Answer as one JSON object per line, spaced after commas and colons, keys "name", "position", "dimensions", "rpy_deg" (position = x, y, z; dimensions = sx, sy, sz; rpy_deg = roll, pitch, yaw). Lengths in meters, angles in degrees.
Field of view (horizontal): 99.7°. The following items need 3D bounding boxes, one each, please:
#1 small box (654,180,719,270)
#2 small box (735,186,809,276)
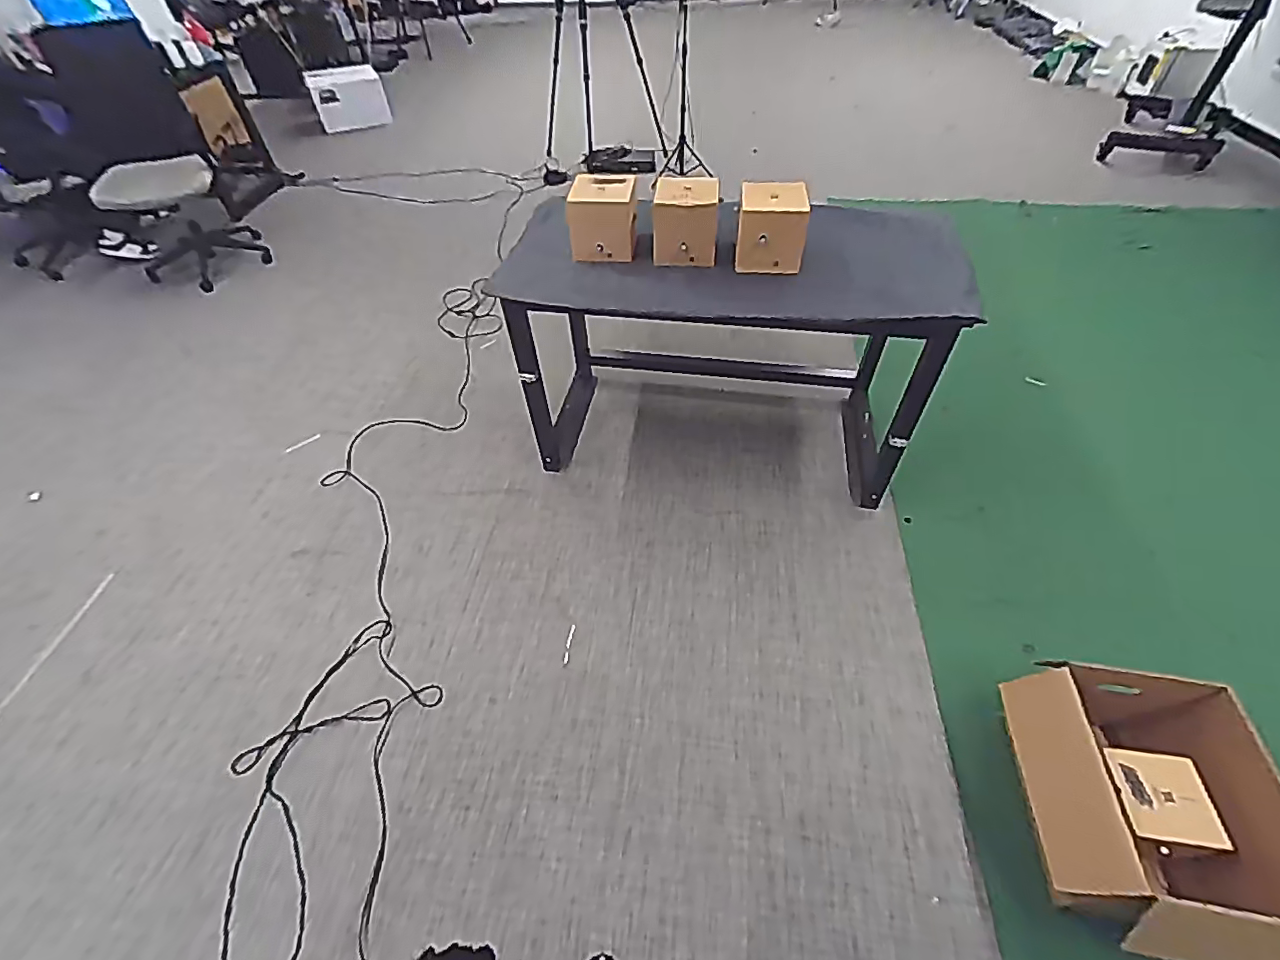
{"name": "small box", "position": [0.126, -0.694, 1.471], "dimensions": [0.168, 0.176, 0.179], "rpy_deg": [3, 49, 5]}
{"name": "small box", "position": [0.344, -0.658, 1.432], "dimensions": [0.168, 0.176, 0.179], "rpy_deg": [3, 48, 6]}
